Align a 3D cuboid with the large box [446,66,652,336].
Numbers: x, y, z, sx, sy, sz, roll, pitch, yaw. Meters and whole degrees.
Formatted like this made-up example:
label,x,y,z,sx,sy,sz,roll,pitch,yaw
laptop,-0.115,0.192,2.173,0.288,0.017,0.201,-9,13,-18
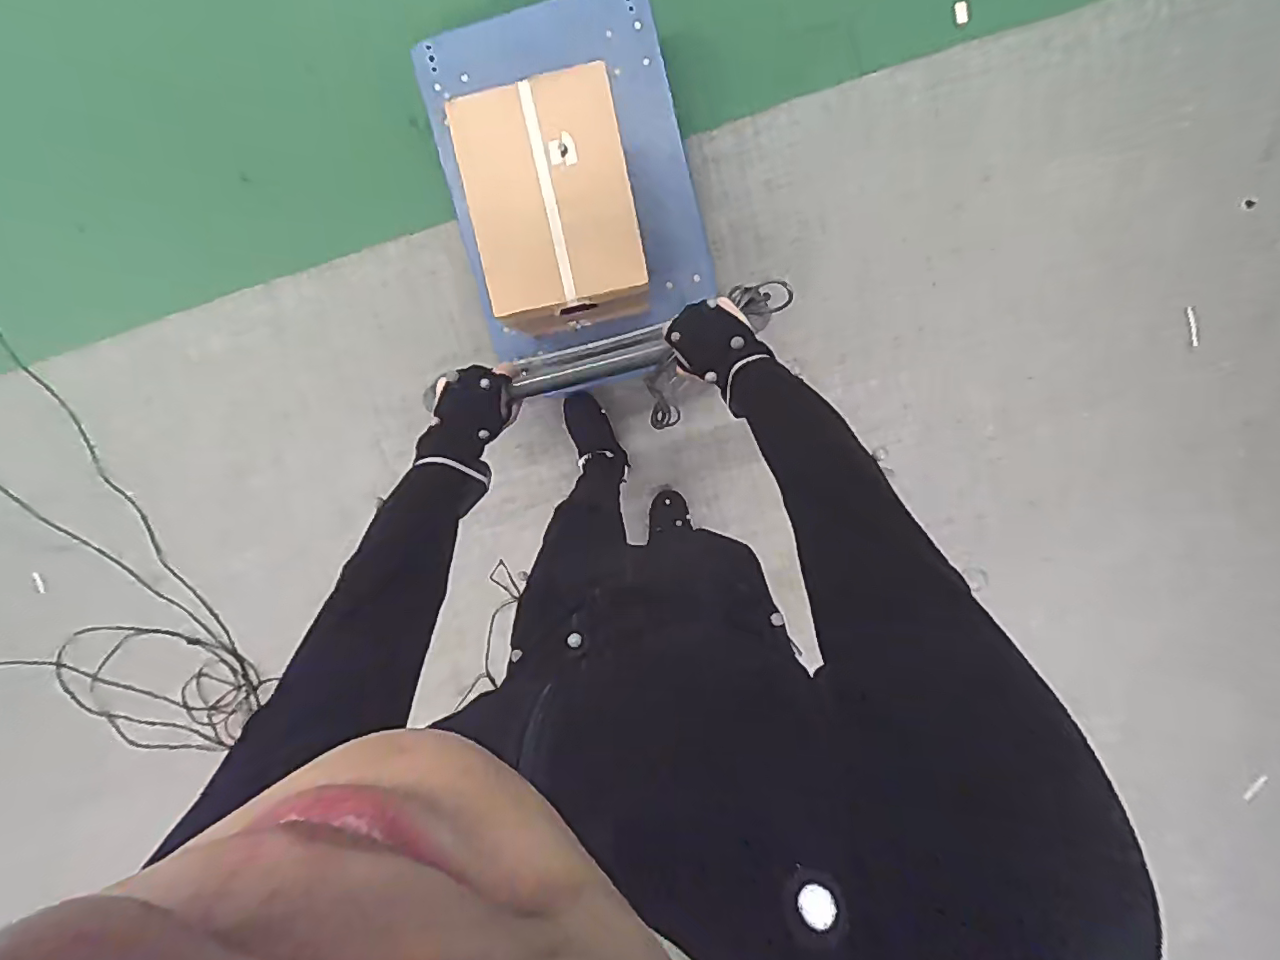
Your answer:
label,x,y,z,sx,sy,sz,roll,pitch,yaw
large box,-0.168,-0.561,1.177,0.320,0.320,0.408,-11,97,3
